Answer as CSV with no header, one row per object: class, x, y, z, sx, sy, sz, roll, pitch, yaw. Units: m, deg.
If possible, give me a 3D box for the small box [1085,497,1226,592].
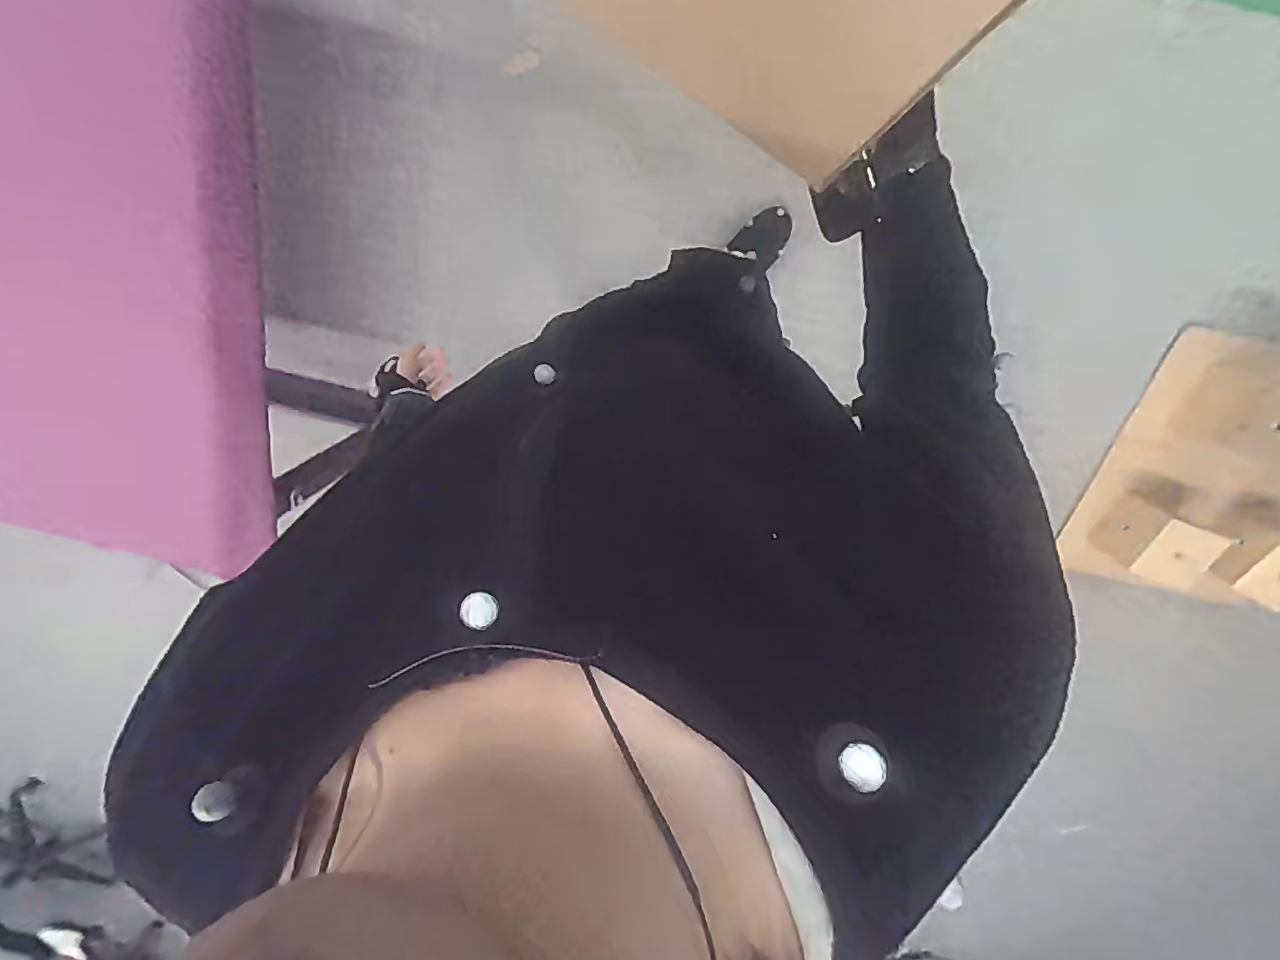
small box,1.357,0.165,1.441,0.179,0.176,0.168,19,113,-5
